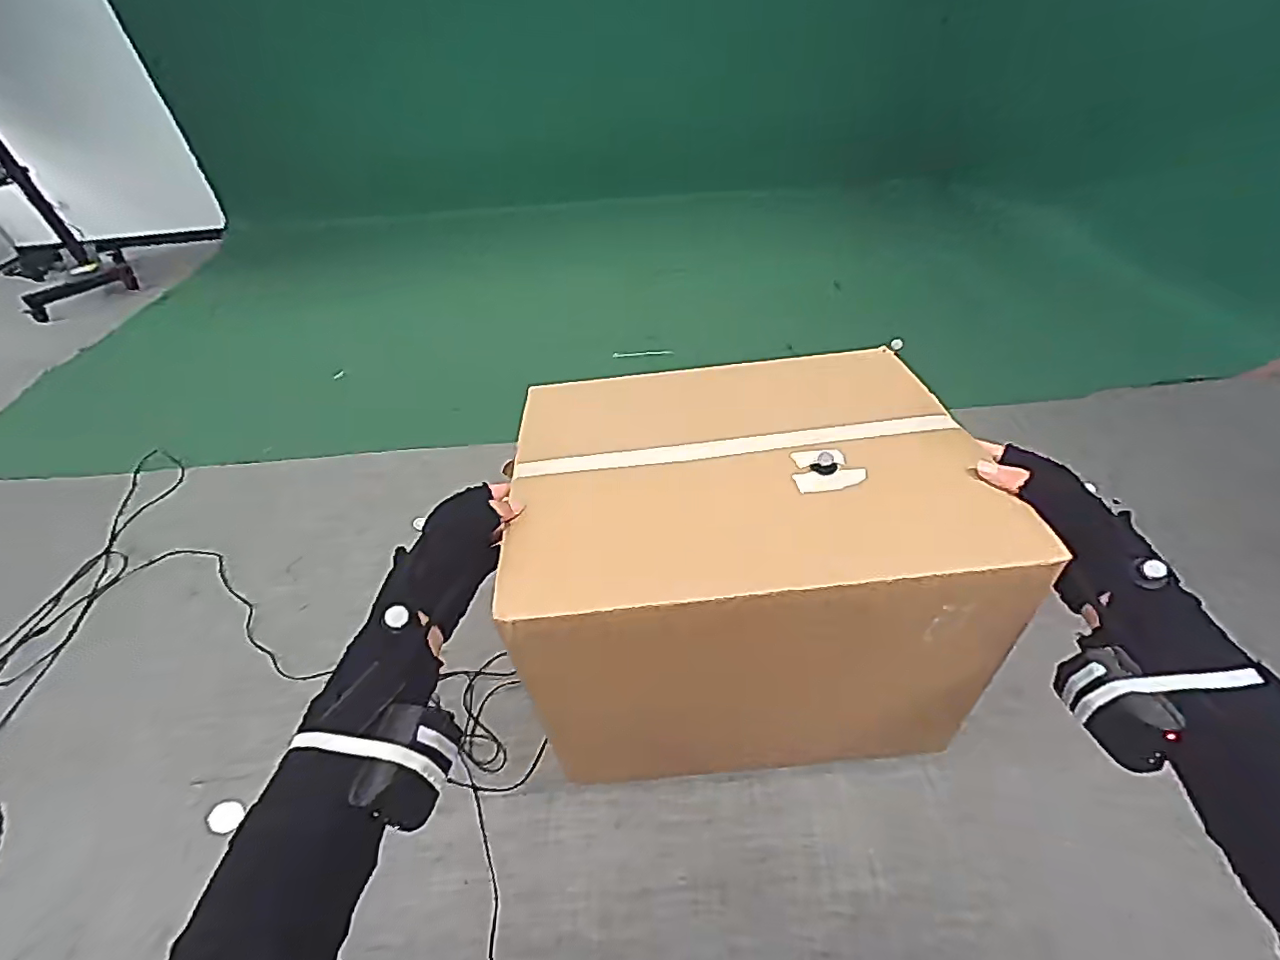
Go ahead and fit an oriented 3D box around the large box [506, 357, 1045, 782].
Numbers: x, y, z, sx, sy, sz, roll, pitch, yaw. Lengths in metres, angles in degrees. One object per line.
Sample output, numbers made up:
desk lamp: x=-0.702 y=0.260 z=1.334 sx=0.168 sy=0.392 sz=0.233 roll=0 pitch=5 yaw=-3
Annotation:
large box: x=0.099 y=0.094 z=0.596 sx=0.408 sy=0.320 sz=0.320 roll=-6 pitch=42 yaw=1
